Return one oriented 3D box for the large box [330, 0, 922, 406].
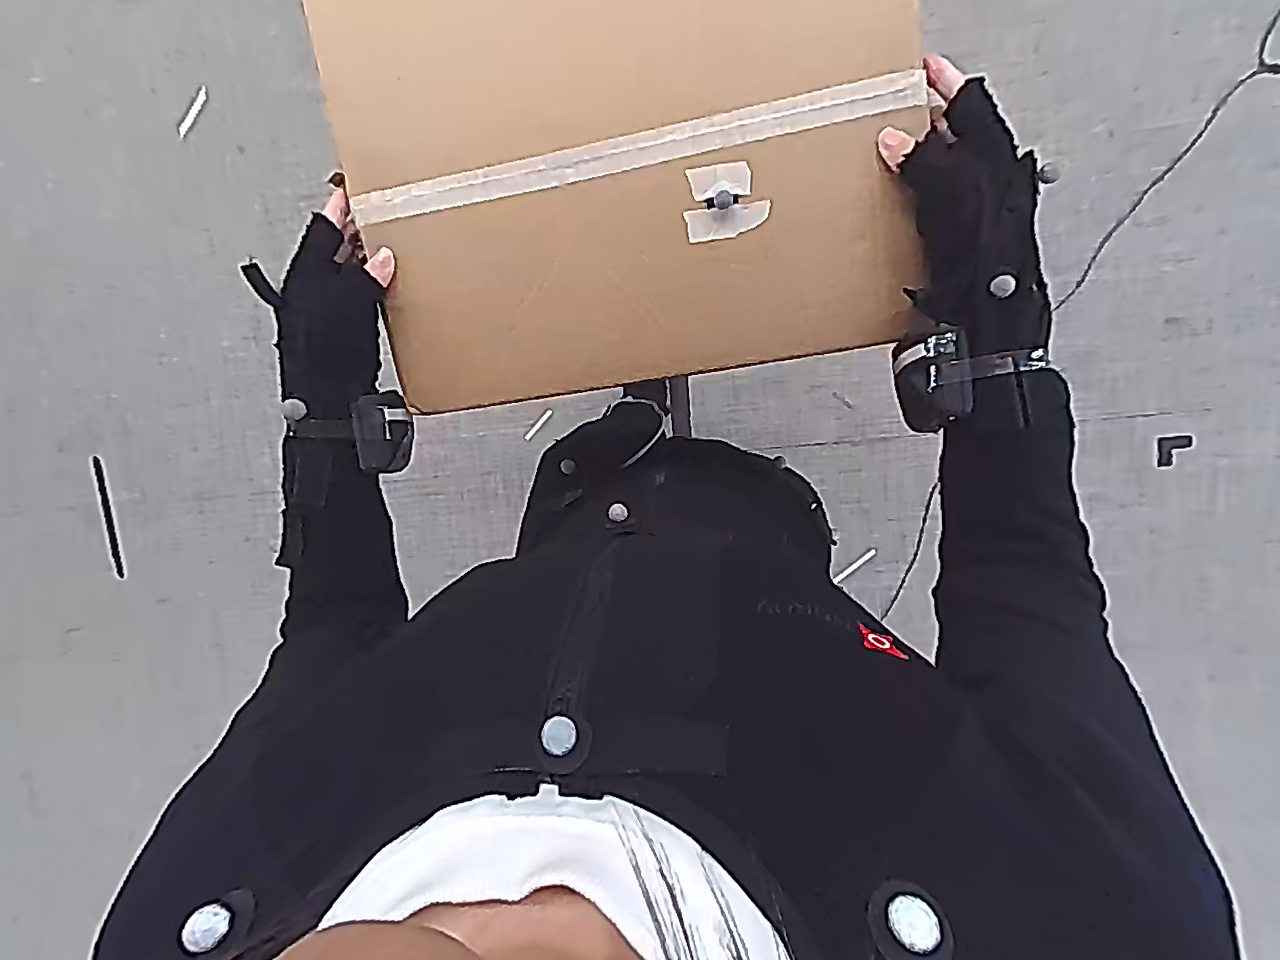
[{"bbox_3d":[0.004,-0.269,0.540,0.408,0.320,0.320,-8,103,8],"label":"large box"}]
